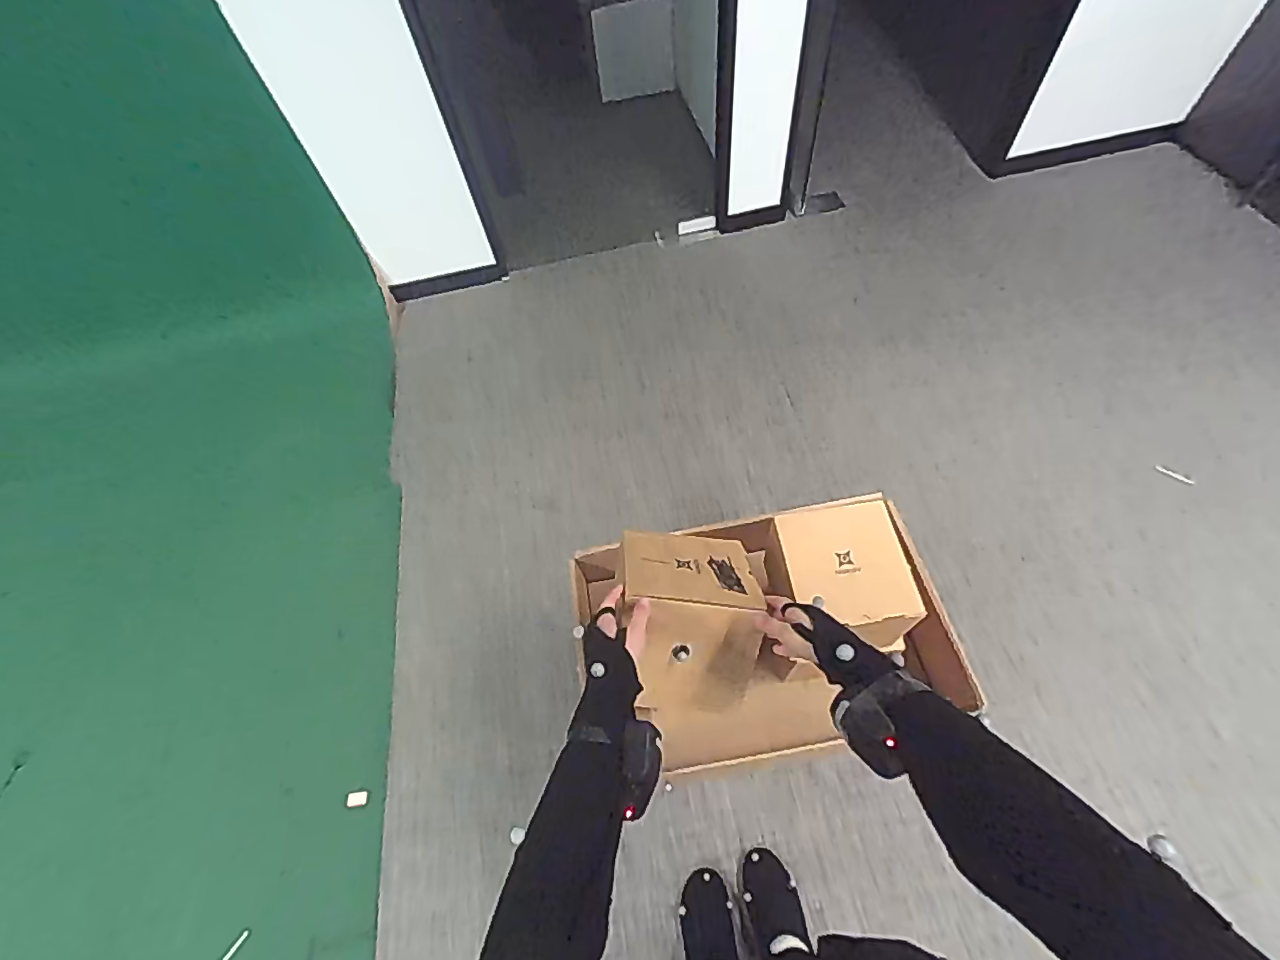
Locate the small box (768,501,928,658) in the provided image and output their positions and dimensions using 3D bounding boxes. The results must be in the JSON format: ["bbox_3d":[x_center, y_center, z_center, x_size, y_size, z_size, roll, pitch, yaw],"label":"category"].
[{"bbox_3d":[0.299,0.156,0.825,0.168,0.176,0.179,-9,58,2],"label":"small box"}]

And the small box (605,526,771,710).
[{"bbox_3d":[0.054,0.182,0.724,0.179,0.176,0.168,7,21,-5],"label":"small box"}]
